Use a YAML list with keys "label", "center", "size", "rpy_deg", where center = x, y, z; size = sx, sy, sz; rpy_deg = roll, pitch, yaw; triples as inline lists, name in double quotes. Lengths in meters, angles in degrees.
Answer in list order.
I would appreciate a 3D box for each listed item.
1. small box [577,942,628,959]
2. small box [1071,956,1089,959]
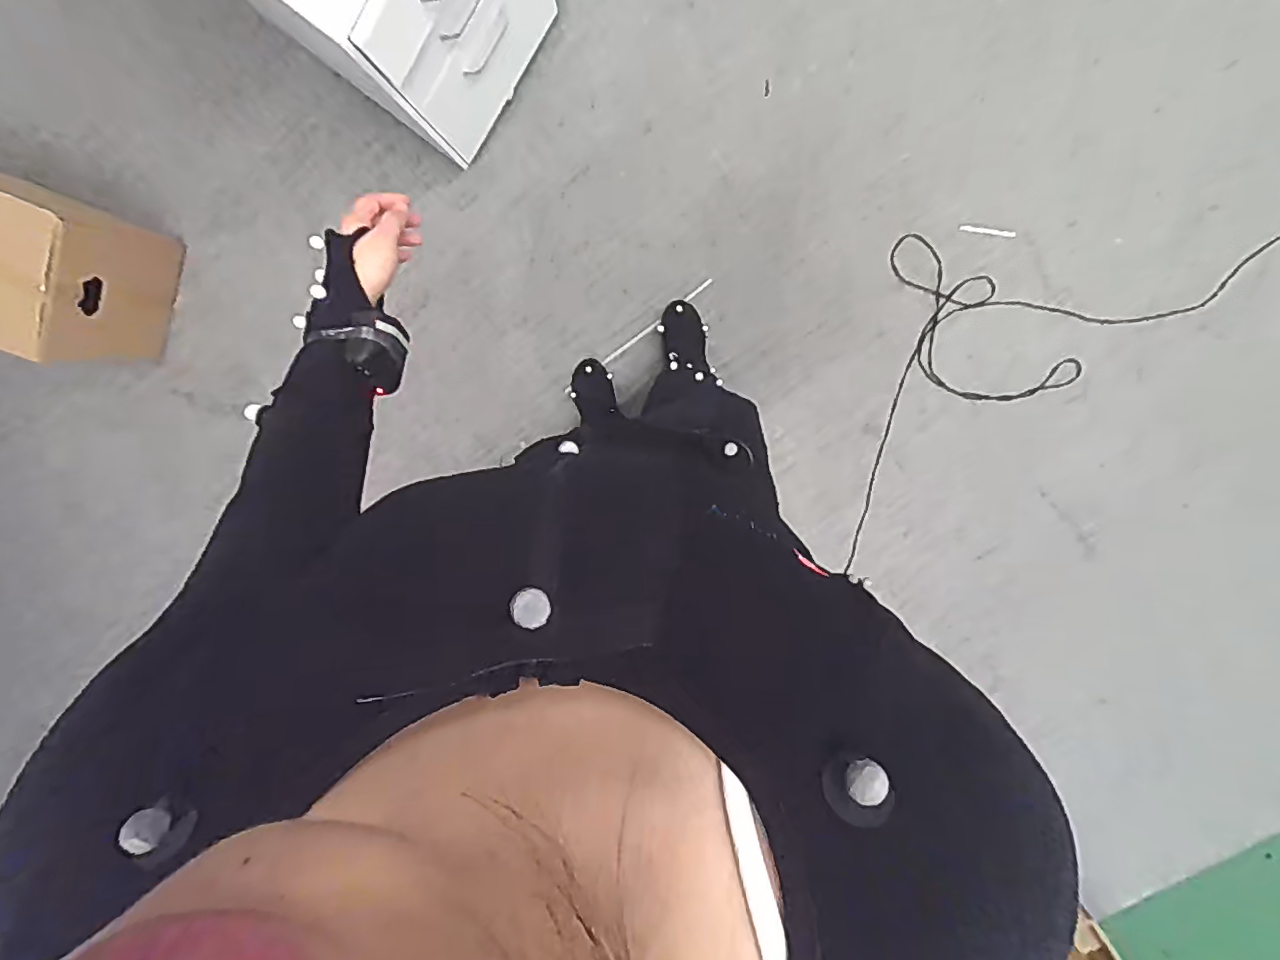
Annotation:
- label: "small box"
  center: [-0.132, 1.770, 1.876]
  size: [0.179, 0.176, 0.168]
  rpy_deg: [-30, 103, 7]
- label: "small box"
  center: [1.334, 1.564, 1.594]
  size: [0.168, 0.176, 0.179]
  rpy_deg: [-38, 100, 9]
